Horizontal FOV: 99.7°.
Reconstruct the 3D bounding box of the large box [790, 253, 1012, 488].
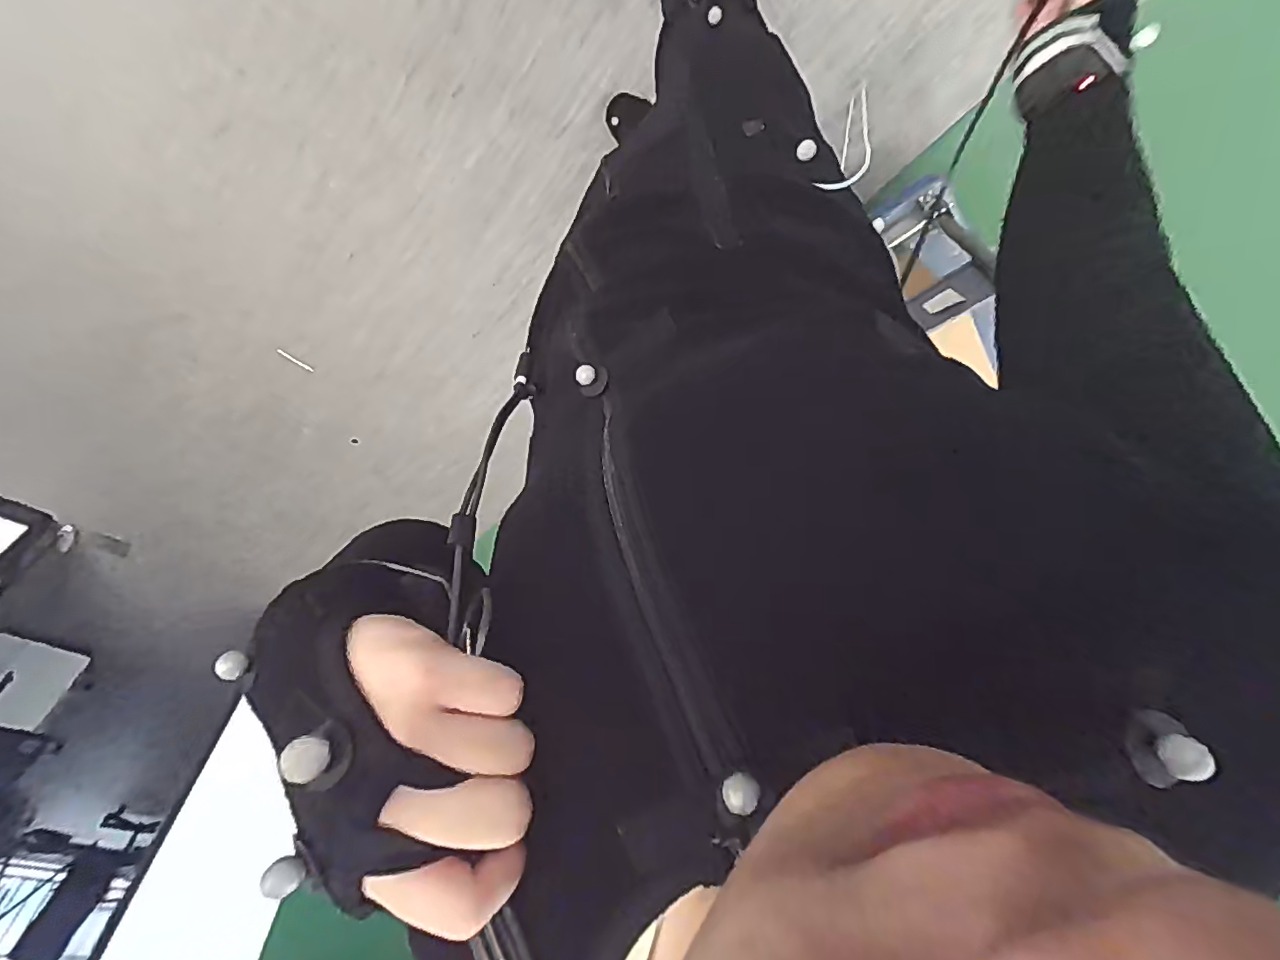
[{"bbox_3d":[0.624,-0.258,1.328,0.320,0.320,0.408,-30,127,26],"label":"large box"}]
